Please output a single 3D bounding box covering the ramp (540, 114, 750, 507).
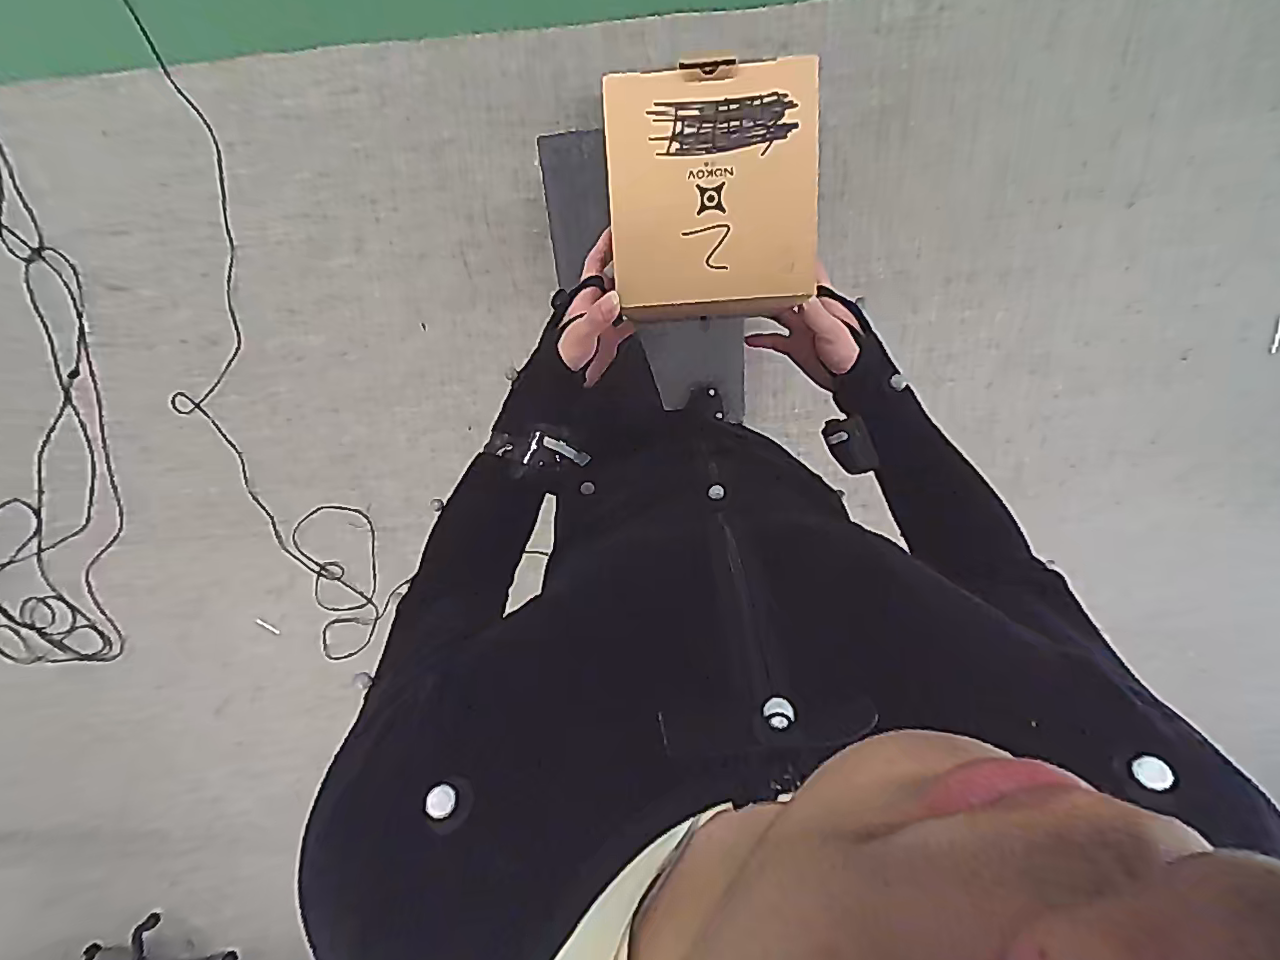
[{"bbox_3d":[0.053,-0.380,1.474,0.509,0.206,0.991,-6,106,3],"label":"ramp"}]
